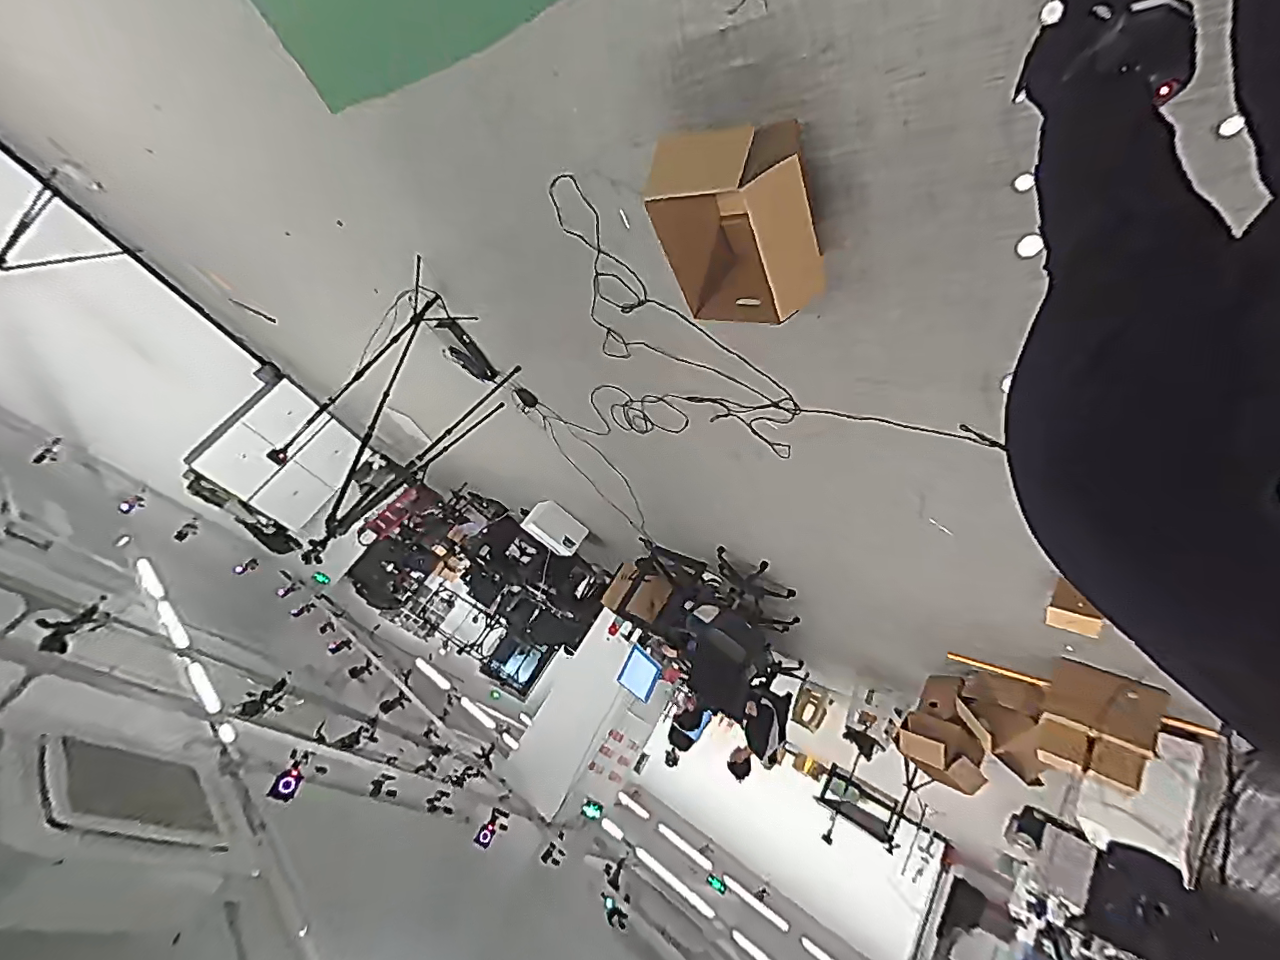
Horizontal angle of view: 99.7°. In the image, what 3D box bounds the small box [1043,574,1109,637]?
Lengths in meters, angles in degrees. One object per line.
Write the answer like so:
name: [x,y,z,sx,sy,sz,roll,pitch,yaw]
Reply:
small box: [1.773,0.504,2.202,0.179,0.176,0.168,13,150,40]
